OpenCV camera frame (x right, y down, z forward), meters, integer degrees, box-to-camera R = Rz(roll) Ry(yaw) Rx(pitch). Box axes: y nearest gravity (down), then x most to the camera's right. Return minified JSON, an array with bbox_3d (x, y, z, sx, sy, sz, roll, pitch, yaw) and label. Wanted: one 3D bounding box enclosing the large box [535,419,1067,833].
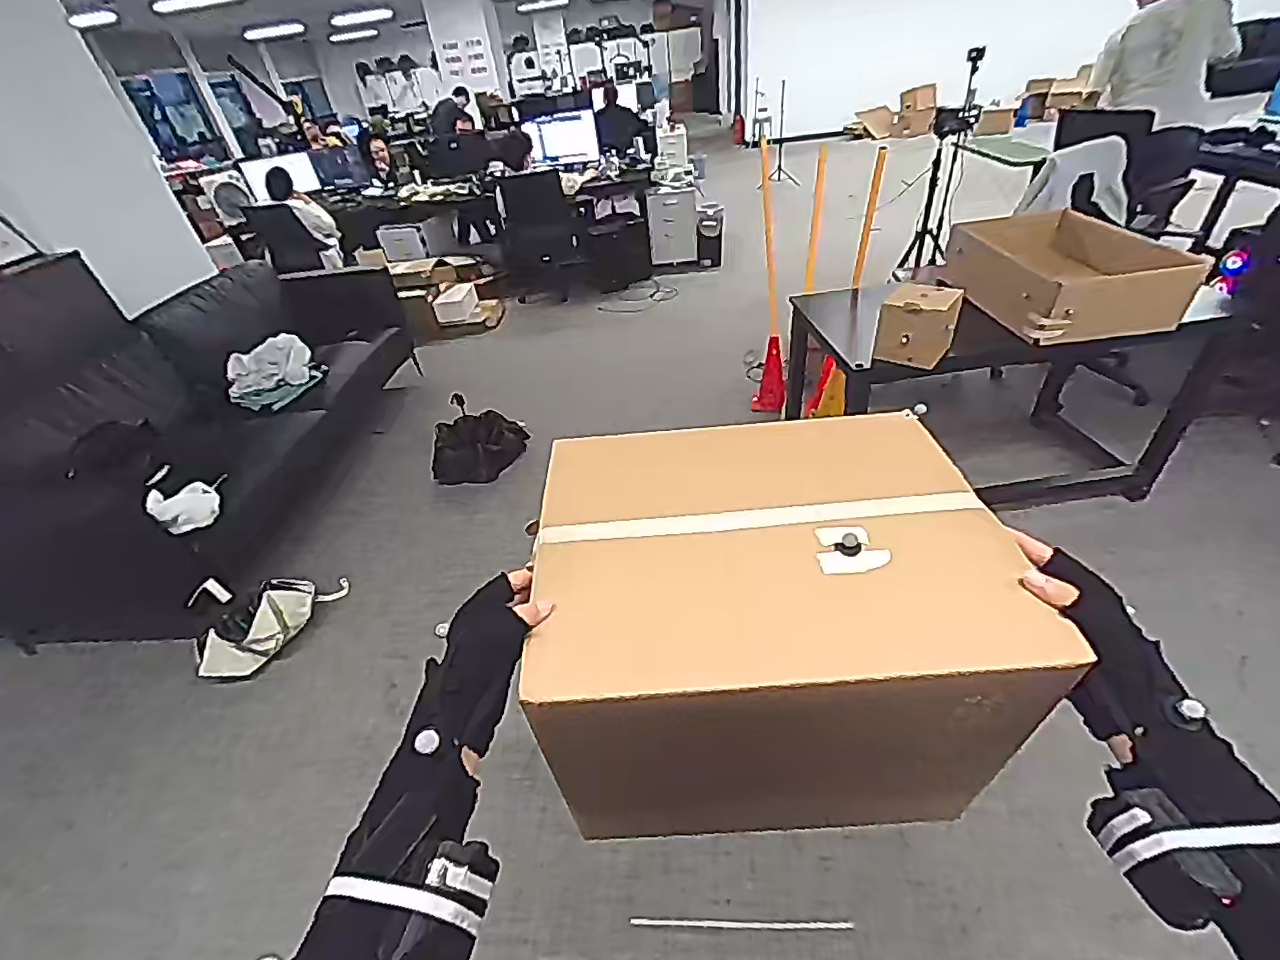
[{"bbox_3d":[0.119,0.157,0.603,0.408,0.320,0.320,-4,41,1],"label":"large box"}]
